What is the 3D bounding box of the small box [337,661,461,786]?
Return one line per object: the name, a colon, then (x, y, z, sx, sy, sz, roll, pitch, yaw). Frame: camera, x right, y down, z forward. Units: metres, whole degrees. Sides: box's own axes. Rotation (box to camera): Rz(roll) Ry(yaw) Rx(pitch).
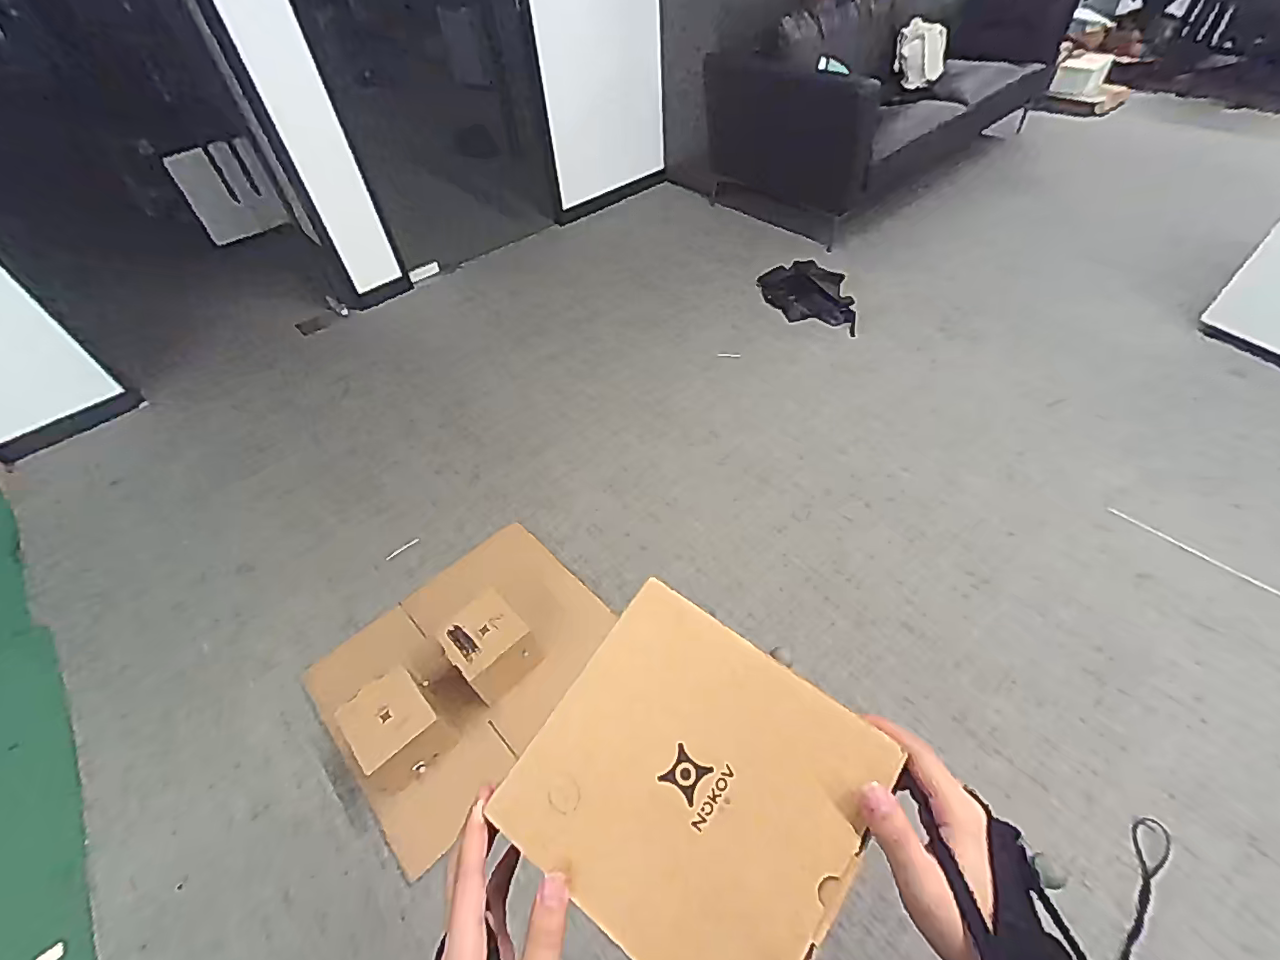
small box: (-0.537, 0.554, 1.222, 0.168, 0.176, 0.179, -38, 57, -24)
